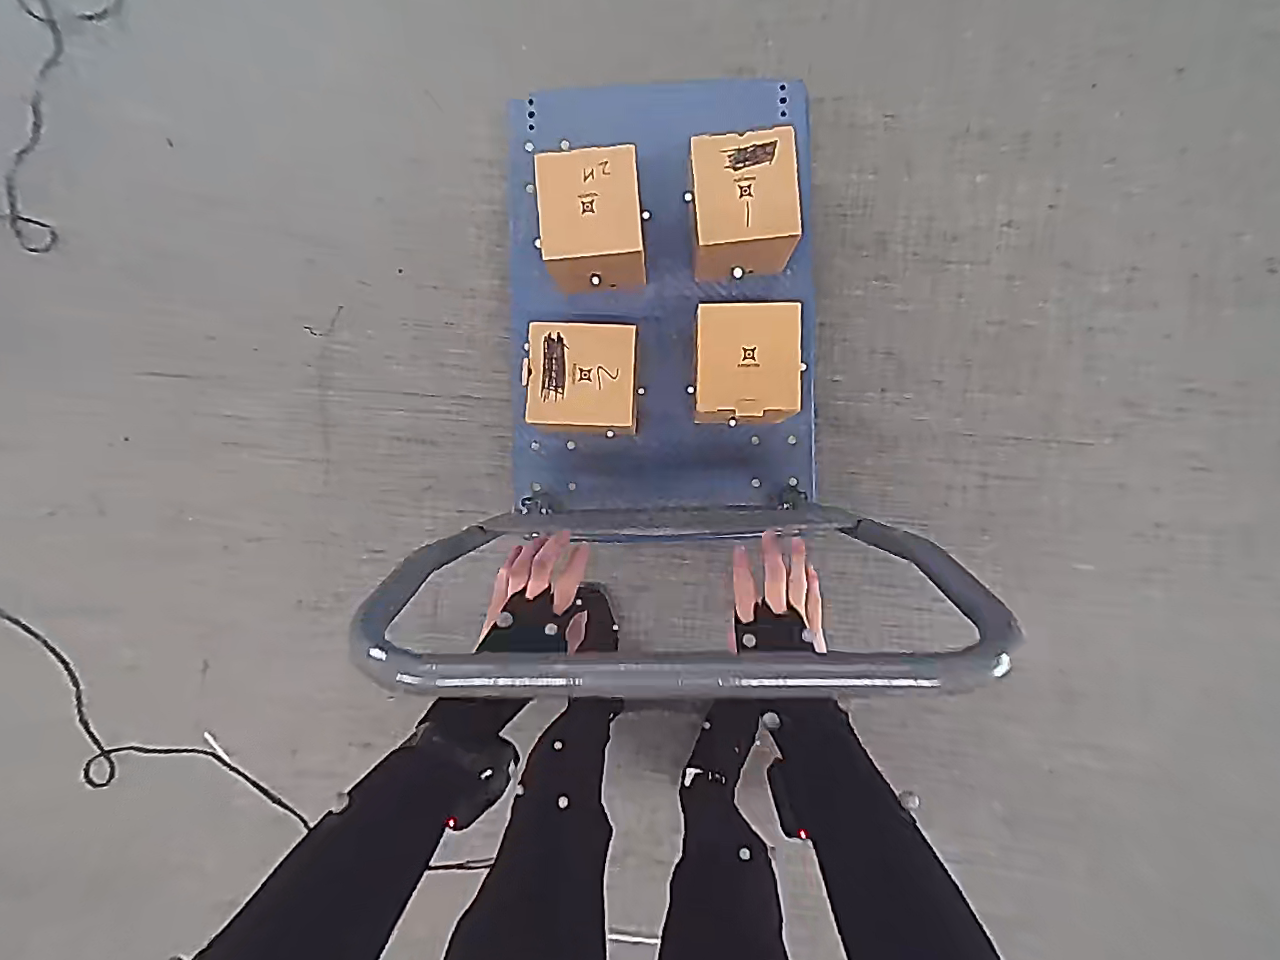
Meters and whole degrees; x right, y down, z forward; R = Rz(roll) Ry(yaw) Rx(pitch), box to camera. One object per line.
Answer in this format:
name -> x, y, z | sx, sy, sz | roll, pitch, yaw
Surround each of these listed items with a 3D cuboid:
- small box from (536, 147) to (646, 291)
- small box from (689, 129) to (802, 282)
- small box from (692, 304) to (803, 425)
small box -> -0.078, -0.443, 0.948 | 0.168, 0.176, 0.179 | -4, 90, 2
small box -> 0.174, -0.463, 0.936 | 0.168, 0.176, 0.179 | -4, 91, 4
small box -> 0.178, -0.193, 0.940 | 0.168, 0.176, 0.179 | 0, 91, 2
